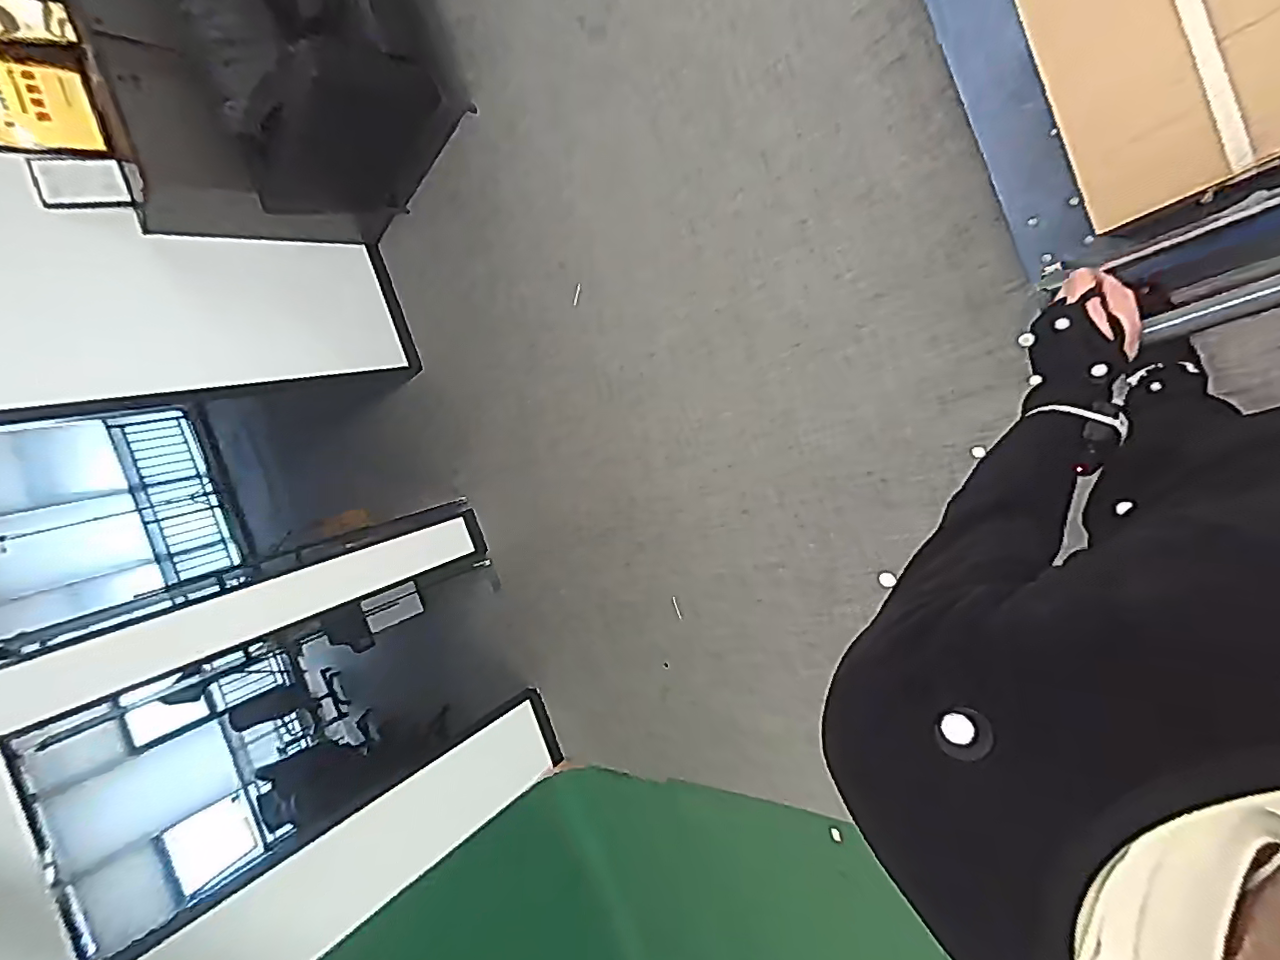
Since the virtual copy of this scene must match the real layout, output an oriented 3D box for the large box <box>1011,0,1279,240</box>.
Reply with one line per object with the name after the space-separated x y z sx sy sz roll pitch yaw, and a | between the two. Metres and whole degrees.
0.835 -0.633 0.820 0.320 0.320 0.408 -19 94 45 | large box
